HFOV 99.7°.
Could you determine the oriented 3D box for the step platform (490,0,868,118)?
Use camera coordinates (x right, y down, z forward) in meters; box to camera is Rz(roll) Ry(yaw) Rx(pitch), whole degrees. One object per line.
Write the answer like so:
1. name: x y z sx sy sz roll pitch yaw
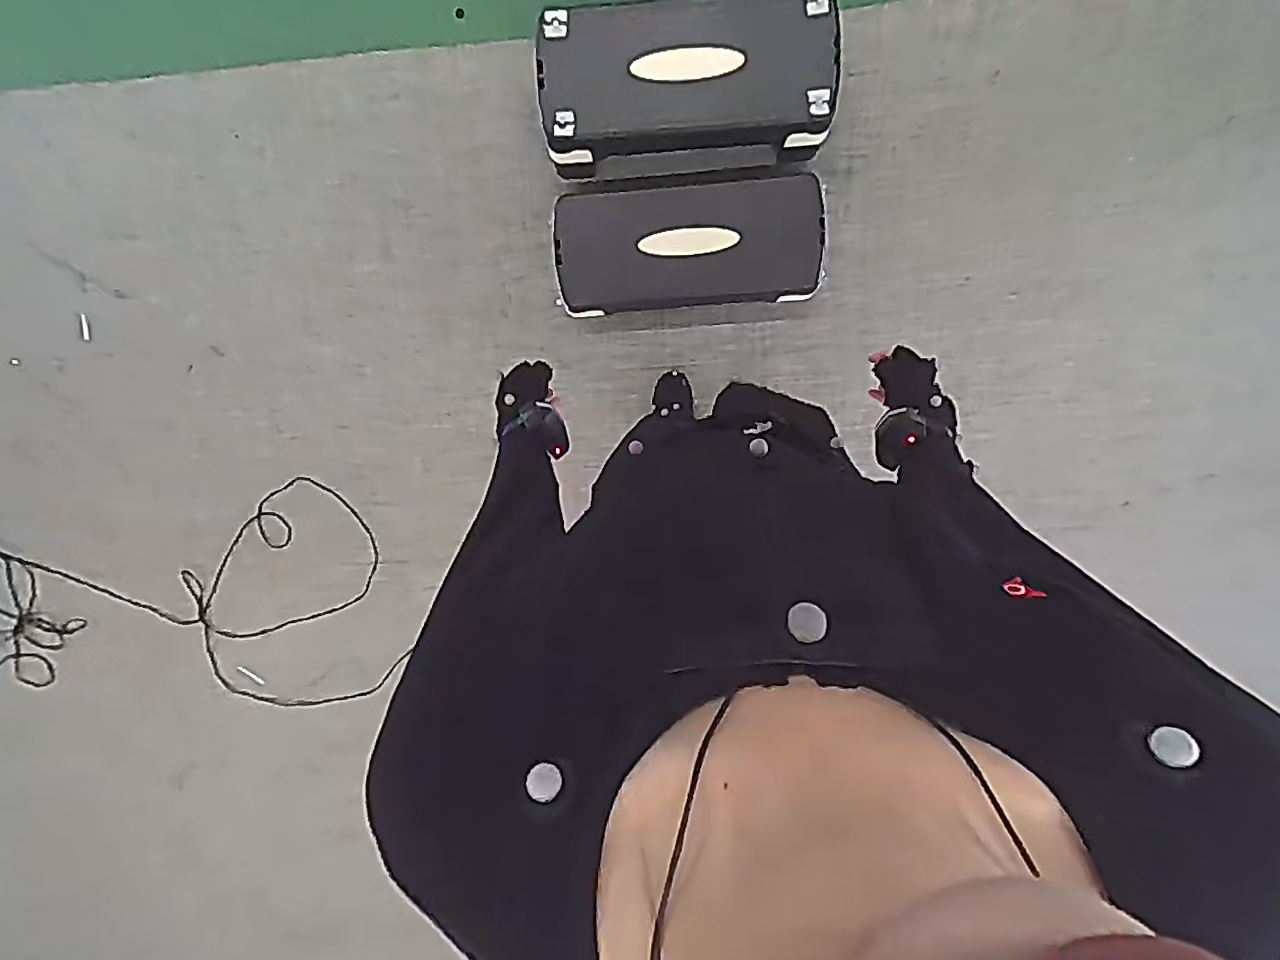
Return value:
1. step platform: 0.071 -0.914 1.044 0.684 0.204 0.286 -3 99 3
